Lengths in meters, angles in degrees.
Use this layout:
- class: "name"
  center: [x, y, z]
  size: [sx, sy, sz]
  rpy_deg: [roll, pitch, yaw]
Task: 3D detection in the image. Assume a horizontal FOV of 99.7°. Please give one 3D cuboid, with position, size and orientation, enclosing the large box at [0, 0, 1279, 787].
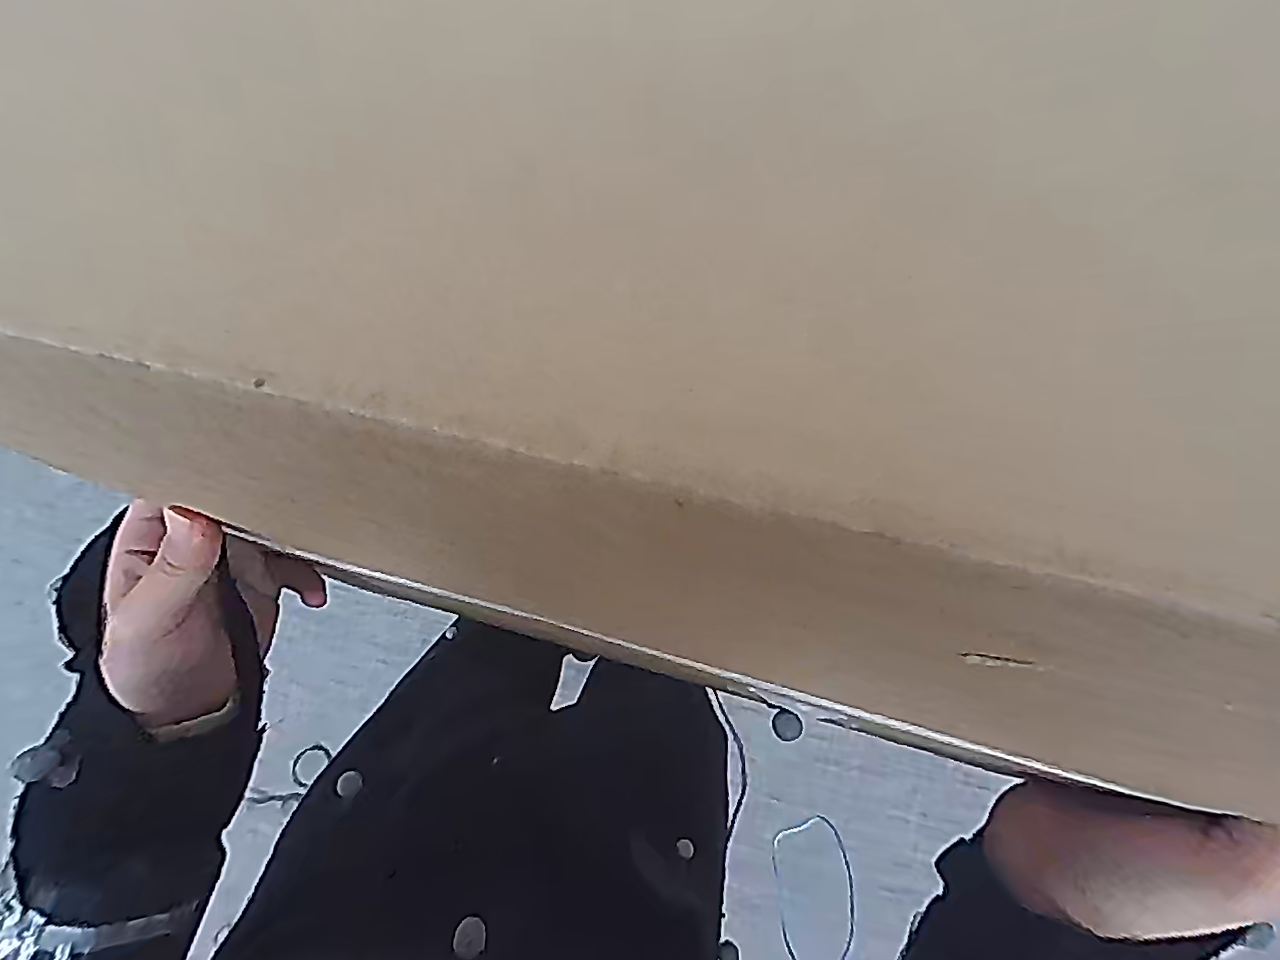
- class: "large box"
  center: [0.041, -0.086, 0.262]
  size: [0.408, 0.320, 0.320]
  rpy_deg: [13, 69, 9]
